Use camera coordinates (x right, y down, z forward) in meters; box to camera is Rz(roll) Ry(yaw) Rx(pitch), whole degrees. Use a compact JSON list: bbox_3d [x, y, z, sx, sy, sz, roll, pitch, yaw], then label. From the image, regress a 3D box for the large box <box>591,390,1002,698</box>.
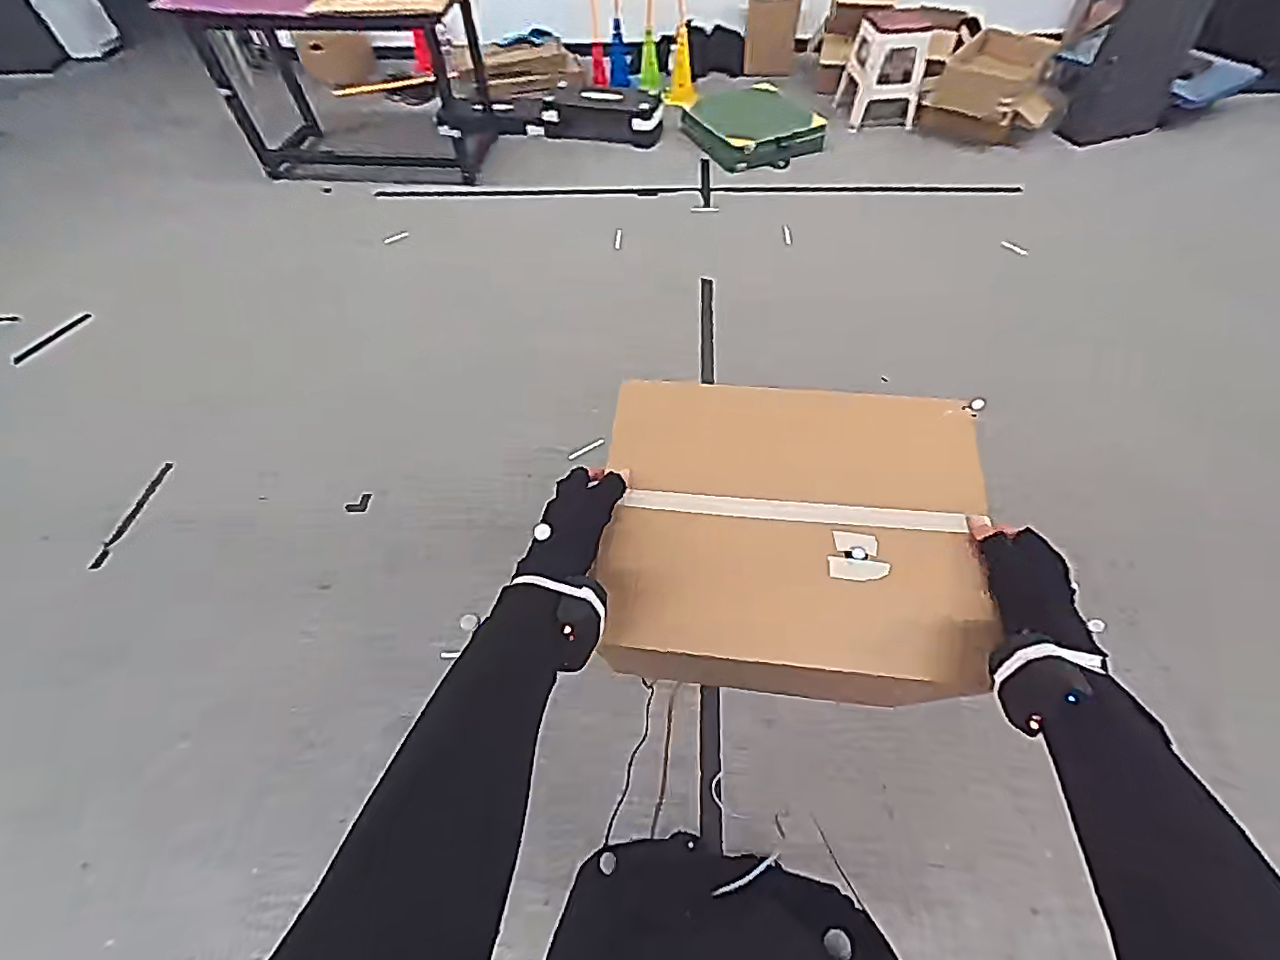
[{"bbox_3d":[0.168,0.100,0.723,0.408,0.320,0.320,4,66,6],"label":"large box"}]
